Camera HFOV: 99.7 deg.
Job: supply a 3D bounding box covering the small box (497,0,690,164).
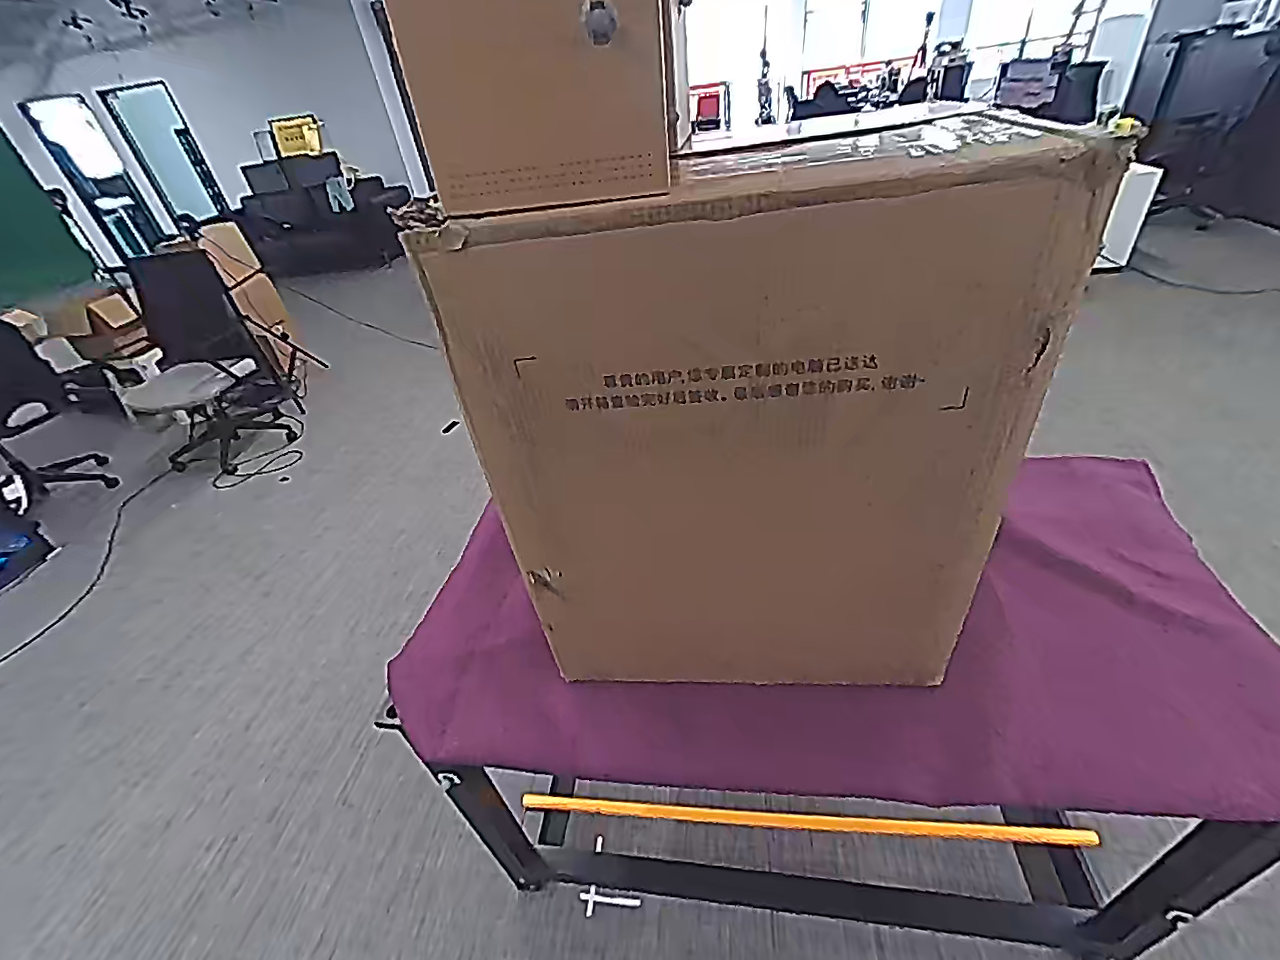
[{"bbox_3d":[-0.035,-0.457,0.596,0.168,0.176,0.179,1,37,10],"label":"small box"}]
